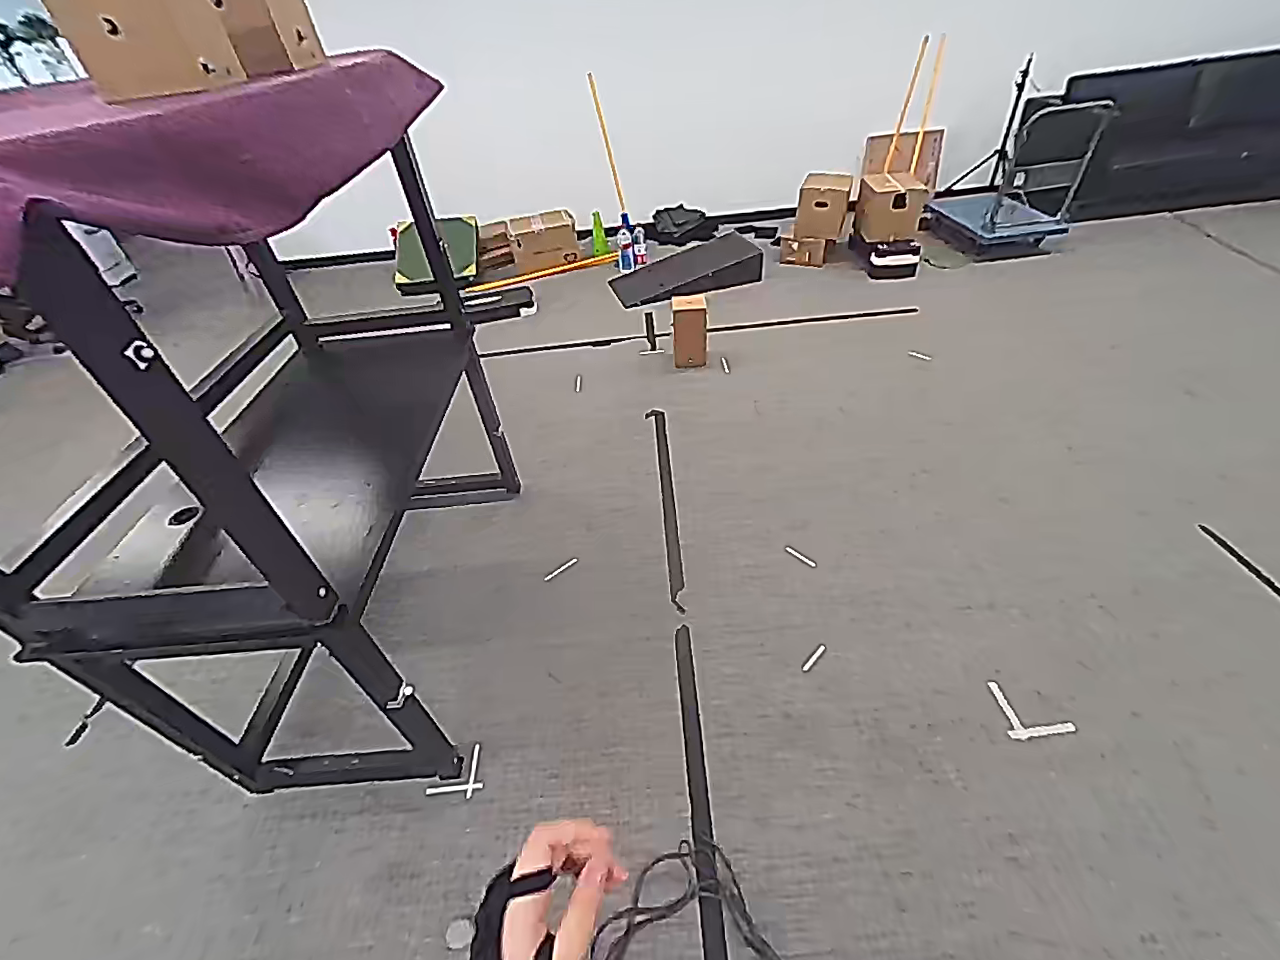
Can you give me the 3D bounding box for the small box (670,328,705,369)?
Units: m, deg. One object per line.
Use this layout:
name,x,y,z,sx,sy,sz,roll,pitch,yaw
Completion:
small box,0.257,-0.721,2.950,0.179,0.176,0.168,-4,41,1

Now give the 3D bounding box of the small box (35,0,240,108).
small box,-0.835,-0.750,0.915,0.179,0.176,0.168,-9,41,-1

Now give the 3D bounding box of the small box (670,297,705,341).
small box,0.250,-0.842,2.840,0.179,0.176,0.168,-3,41,5

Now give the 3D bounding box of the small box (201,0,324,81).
small box,-0.832,-0.972,1.162,0.179,0.176,0.168,-3,42,5
